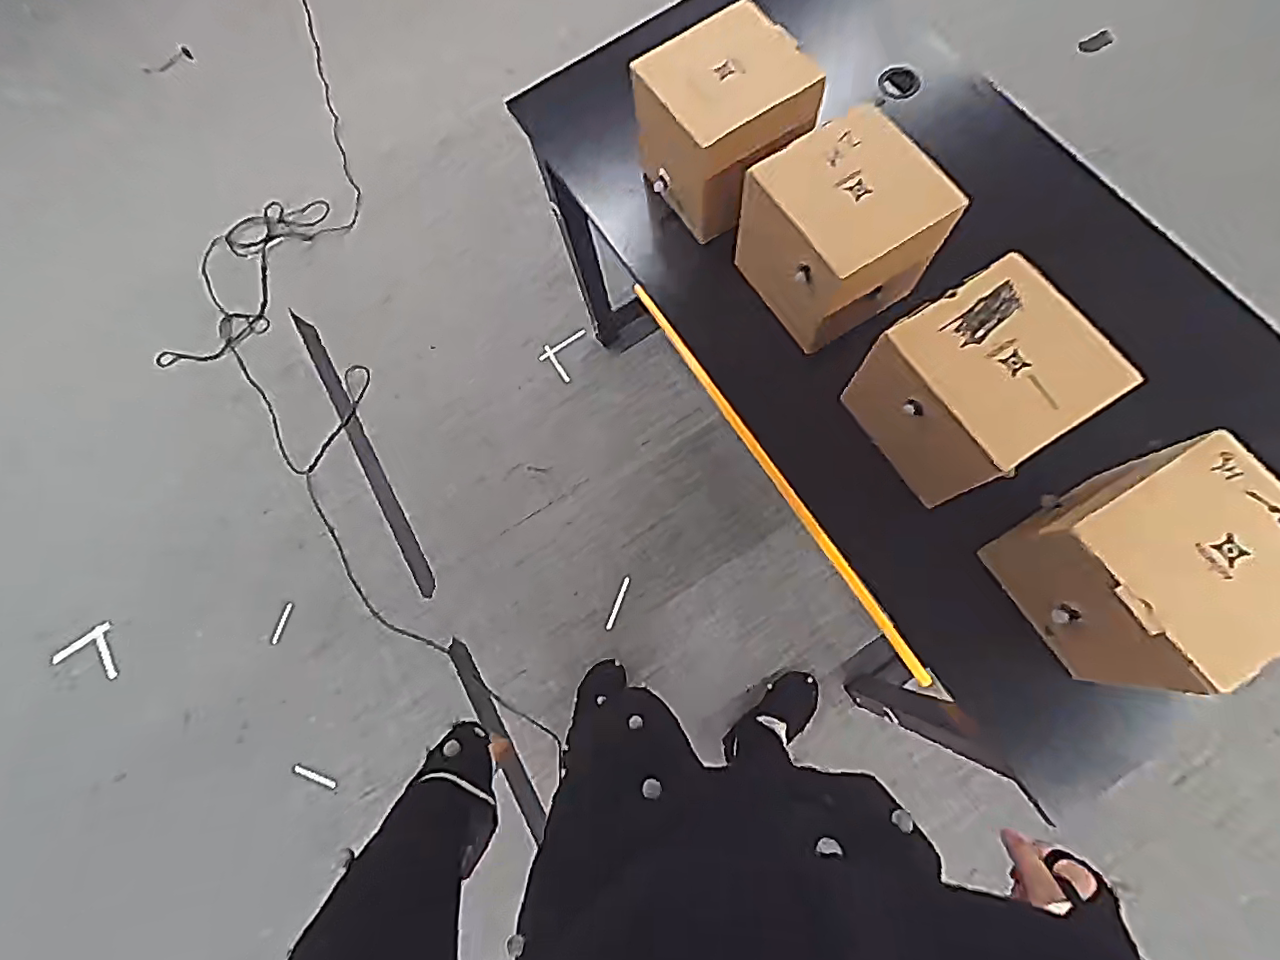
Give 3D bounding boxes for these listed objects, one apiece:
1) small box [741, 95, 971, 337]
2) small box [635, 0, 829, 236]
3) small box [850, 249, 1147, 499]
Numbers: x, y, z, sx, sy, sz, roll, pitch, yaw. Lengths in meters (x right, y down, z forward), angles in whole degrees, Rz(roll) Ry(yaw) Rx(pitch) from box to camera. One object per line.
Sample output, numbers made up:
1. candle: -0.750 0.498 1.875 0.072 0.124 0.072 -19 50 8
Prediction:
1. small box: 0.241 -0.300 0.656 0.168 0.176 0.179 -31 75 -4
2. small box: 0.113 -0.470 0.714 0.179 0.176 0.168 -33 74 -3
3. small box: 0.363 -0.102 0.593 0.168 0.176 0.179 -32 75 -3
